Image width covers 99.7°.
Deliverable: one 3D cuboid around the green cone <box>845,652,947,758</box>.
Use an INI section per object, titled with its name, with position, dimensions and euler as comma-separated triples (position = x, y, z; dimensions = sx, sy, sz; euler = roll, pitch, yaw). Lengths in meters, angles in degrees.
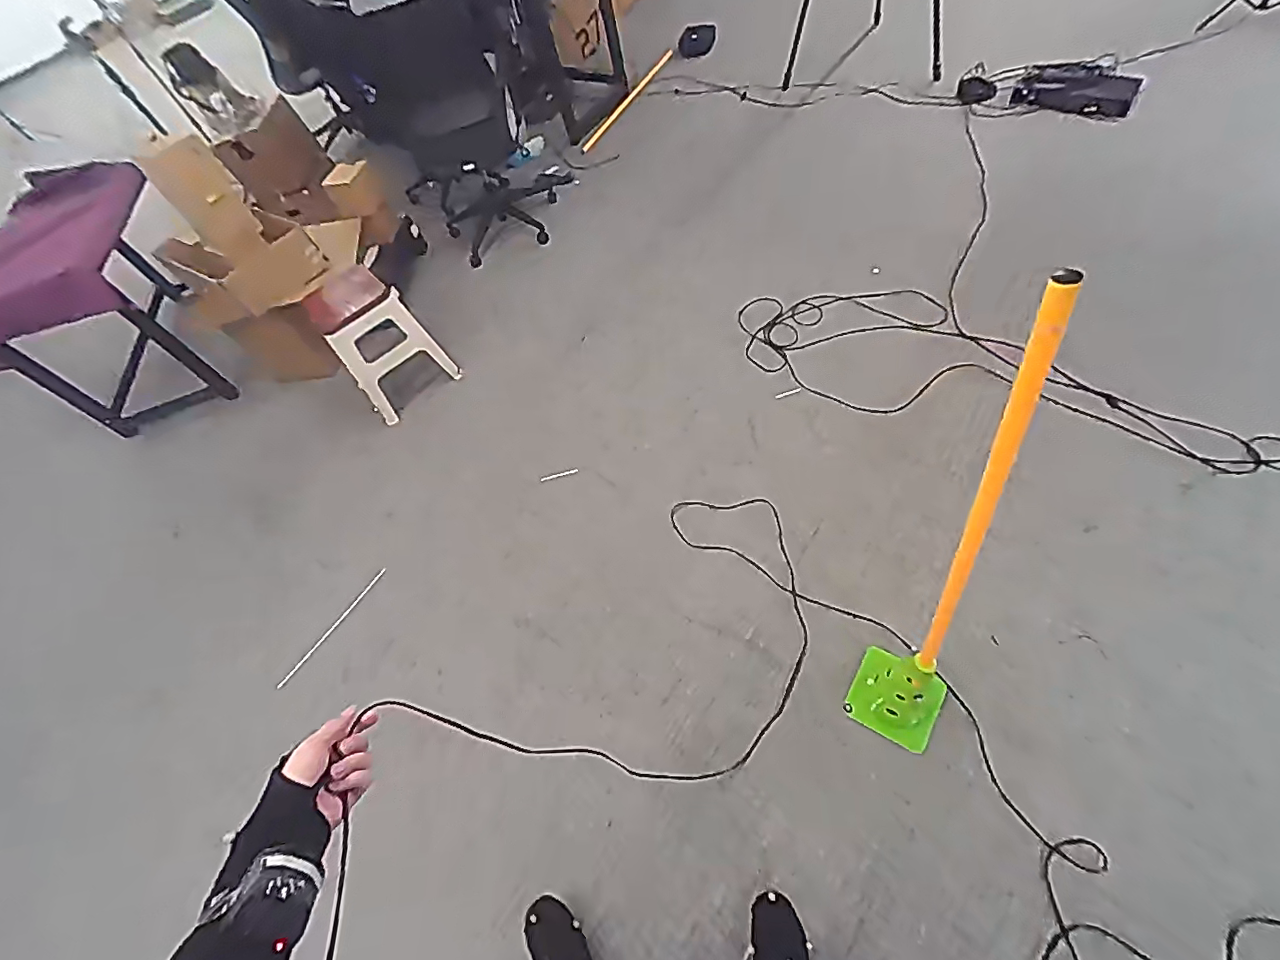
[green cone]
position = 0.612, 0.465, 1.219
dimensions = 0.200, 0.368, 0.202
euler = 24, 65, 25
